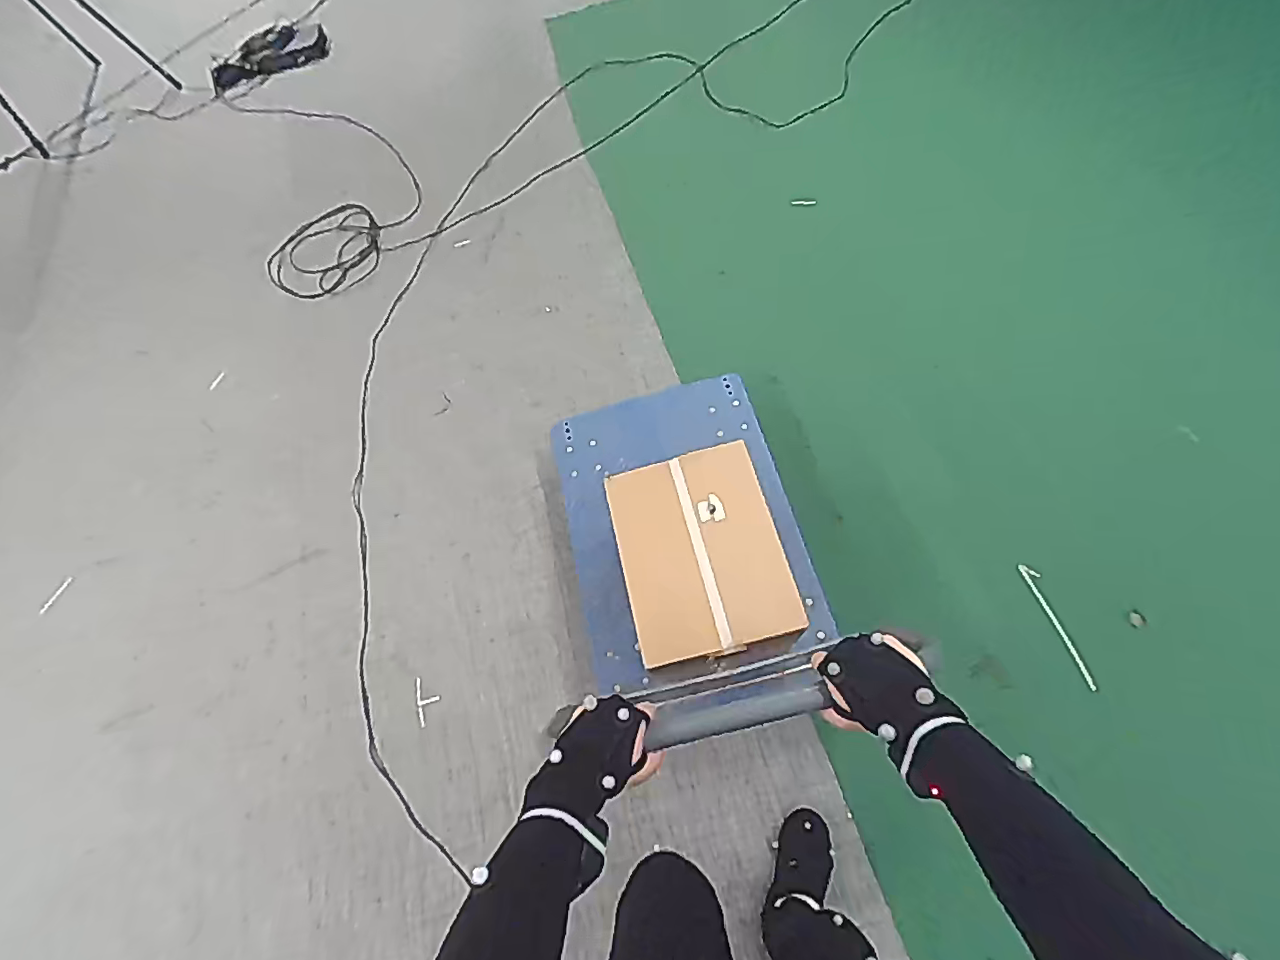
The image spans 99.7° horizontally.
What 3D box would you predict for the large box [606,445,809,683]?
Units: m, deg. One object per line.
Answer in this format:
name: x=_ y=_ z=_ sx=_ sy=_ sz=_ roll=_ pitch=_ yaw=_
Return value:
large box: x=0.141 y=0.199 z=1.207 sx=0.320 sy=0.320 sz=0.408 roll=-15 pitch=63 yaw=2
